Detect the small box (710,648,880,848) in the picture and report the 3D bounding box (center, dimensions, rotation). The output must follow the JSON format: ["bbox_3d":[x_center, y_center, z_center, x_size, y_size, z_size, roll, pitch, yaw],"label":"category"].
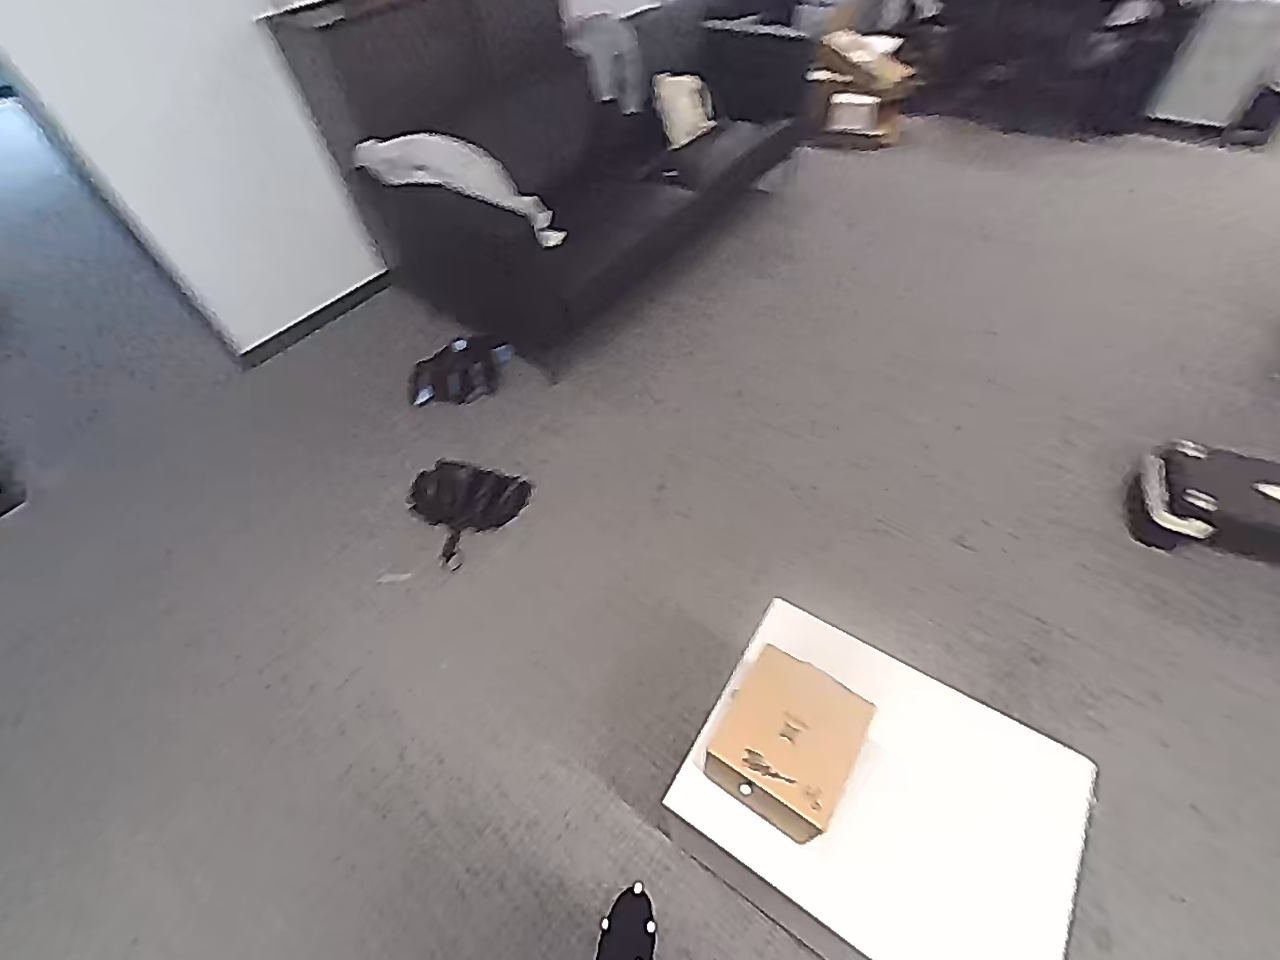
[{"bbox_3d":[0.209,0.381,0.769,0.168,0.176,0.179,27,58,24],"label":"small box"}]
